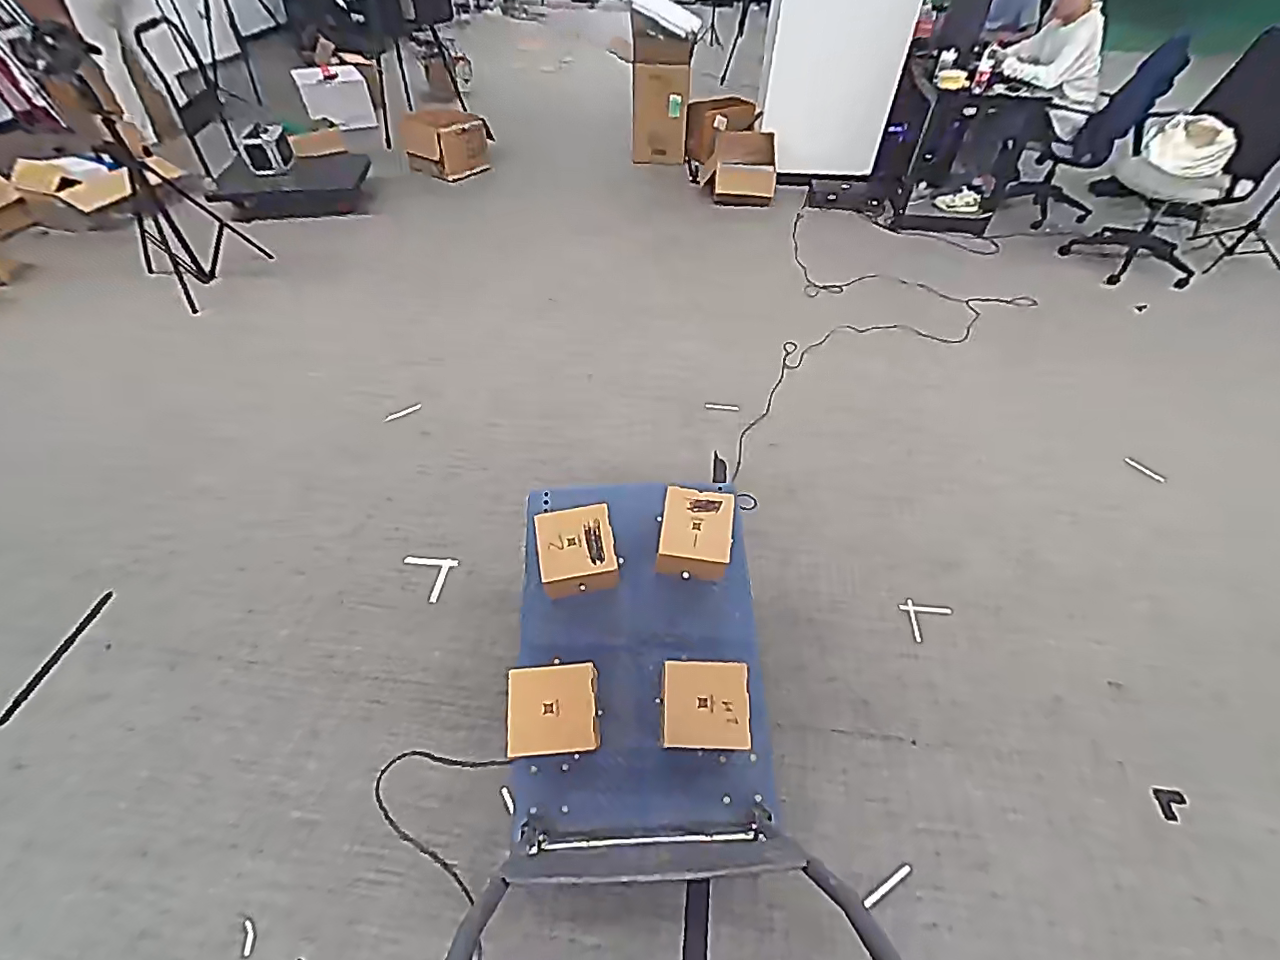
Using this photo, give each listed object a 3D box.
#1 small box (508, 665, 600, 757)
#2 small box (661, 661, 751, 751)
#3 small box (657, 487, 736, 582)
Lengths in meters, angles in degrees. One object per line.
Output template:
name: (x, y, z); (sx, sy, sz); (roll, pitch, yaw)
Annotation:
small box: (-0.180, 0.499, 1.164); (0.179, 0.176, 0.168); (-4, 65, -4)
small box: (0.136, 0.493, 1.172); (0.179, 0.176, 0.168); (2, 65, 0)
small box: (0.136, 0.138, 1.340); (0.168, 0.176, 0.179); (8, 66, 3)
